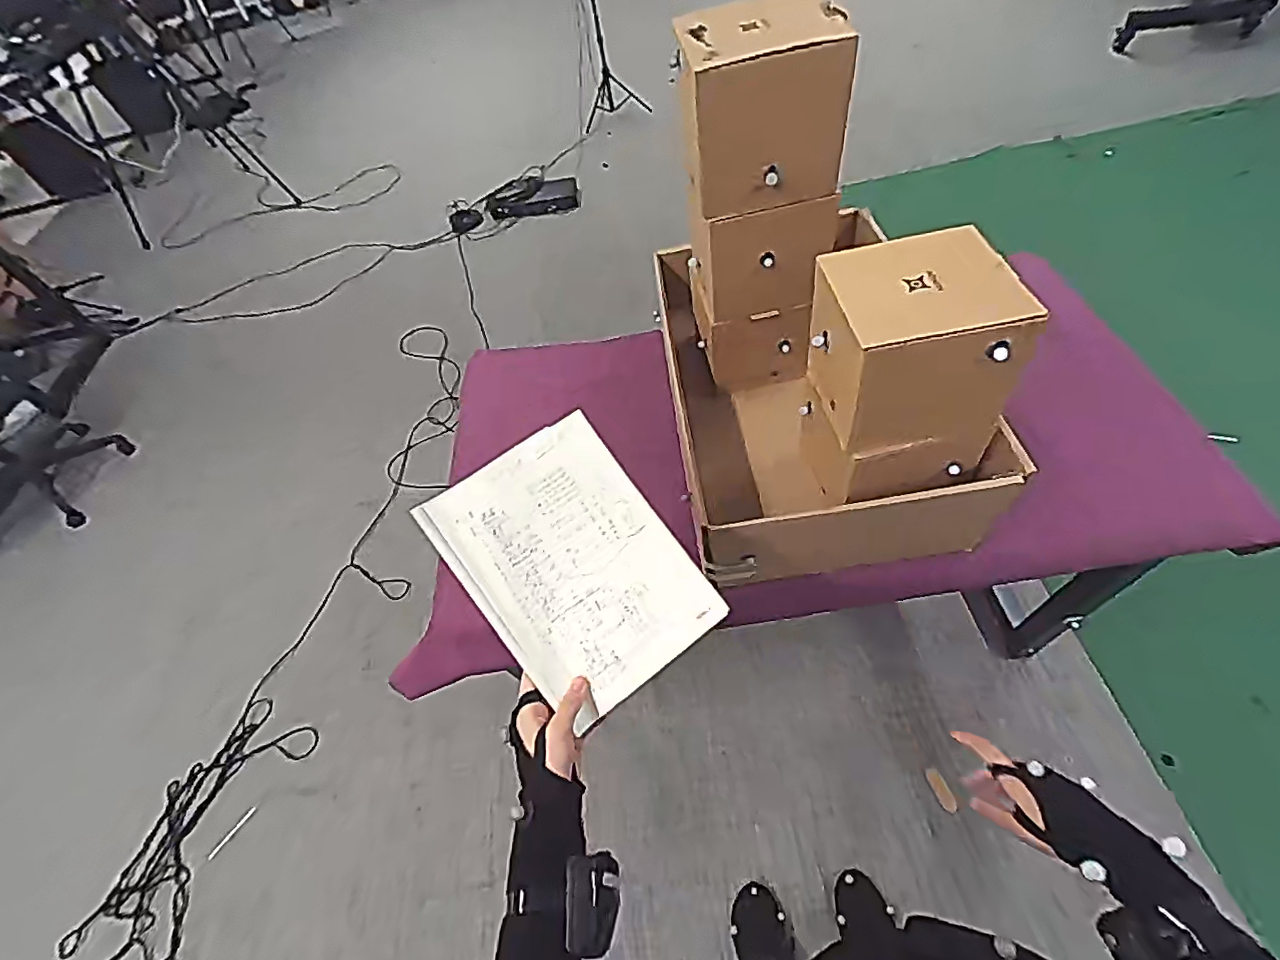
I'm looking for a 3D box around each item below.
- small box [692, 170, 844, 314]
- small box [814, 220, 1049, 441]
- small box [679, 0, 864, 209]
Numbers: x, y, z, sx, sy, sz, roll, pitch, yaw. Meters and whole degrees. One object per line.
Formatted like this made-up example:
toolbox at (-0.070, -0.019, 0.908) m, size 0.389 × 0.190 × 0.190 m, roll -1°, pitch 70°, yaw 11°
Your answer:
small box at (0.177, -0.375, 0.801) m, size 0.179 × 0.176 × 0.168 m, roll -12°, pitch 55°, yaw 3°
small box at (0.308, -0.164, 0.623) m, size 0.179 × 0.176 × 0.168 m, roll -9°, pitch 53°, yaw 5°
small box at (0.149, -0.467, 0.668) m, size 0.179 × 0.176 × 0.168 m, roll -9°, pitch 55°, yaw 3°
